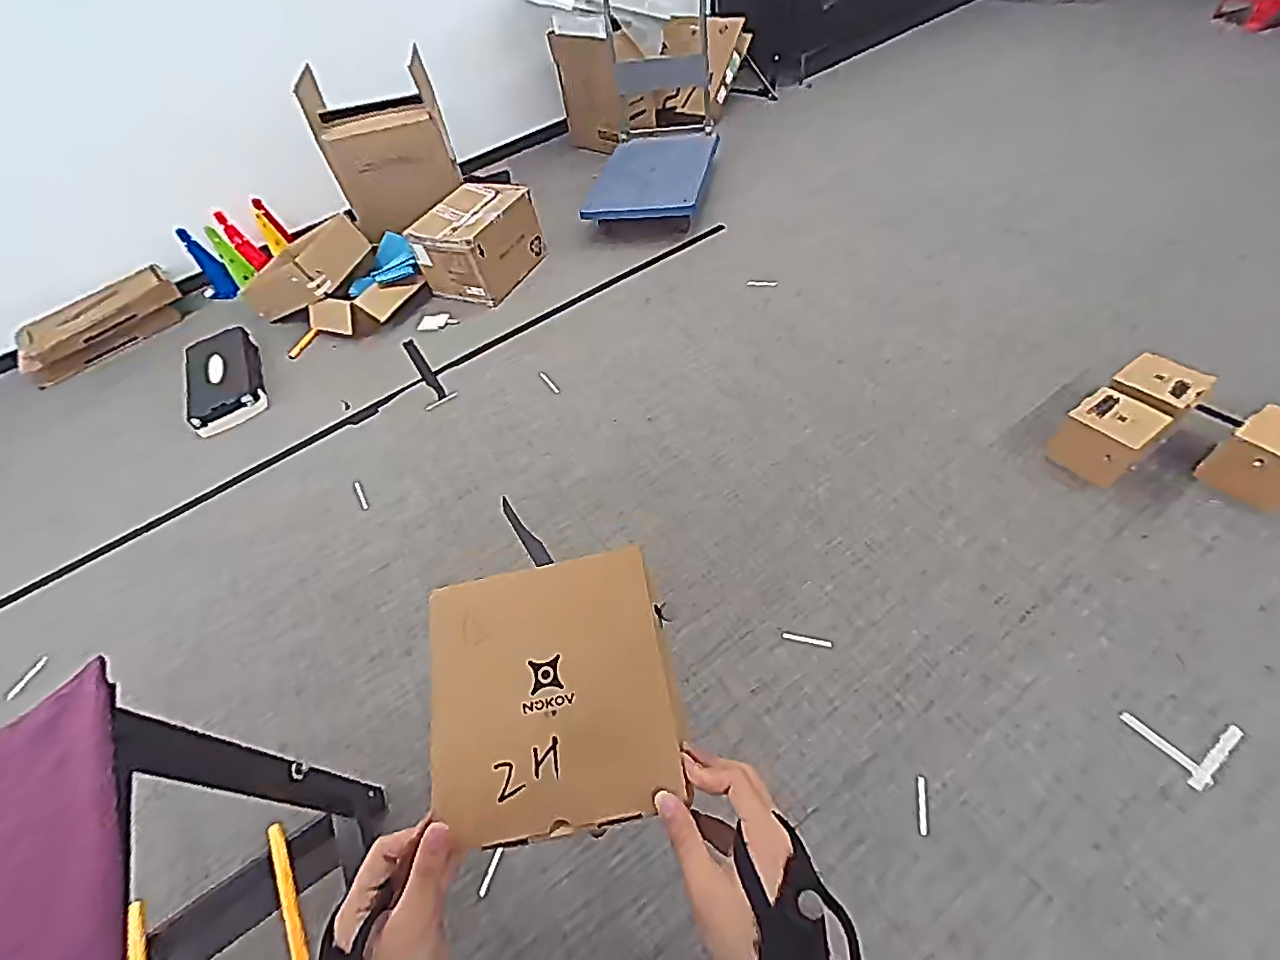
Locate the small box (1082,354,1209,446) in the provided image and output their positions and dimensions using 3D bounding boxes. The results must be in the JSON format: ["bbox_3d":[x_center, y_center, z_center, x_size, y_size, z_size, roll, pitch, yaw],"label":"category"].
[{"bbox_3d":[1.435,-0.220,1.547,0.168,0.176,0.179,-32,51,-14],"label":"small box"}]

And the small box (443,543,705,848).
[{"bbox_3d":[-0.047,0.178,0.450,0.168,0.176,0.179,-15,62,2],"label":"small box"}]

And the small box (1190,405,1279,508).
[{"bbox_3d":[1.590,-0.051,1.379,0.168,0.176,0.179,-31,52,-13],"label":"small box"}]
